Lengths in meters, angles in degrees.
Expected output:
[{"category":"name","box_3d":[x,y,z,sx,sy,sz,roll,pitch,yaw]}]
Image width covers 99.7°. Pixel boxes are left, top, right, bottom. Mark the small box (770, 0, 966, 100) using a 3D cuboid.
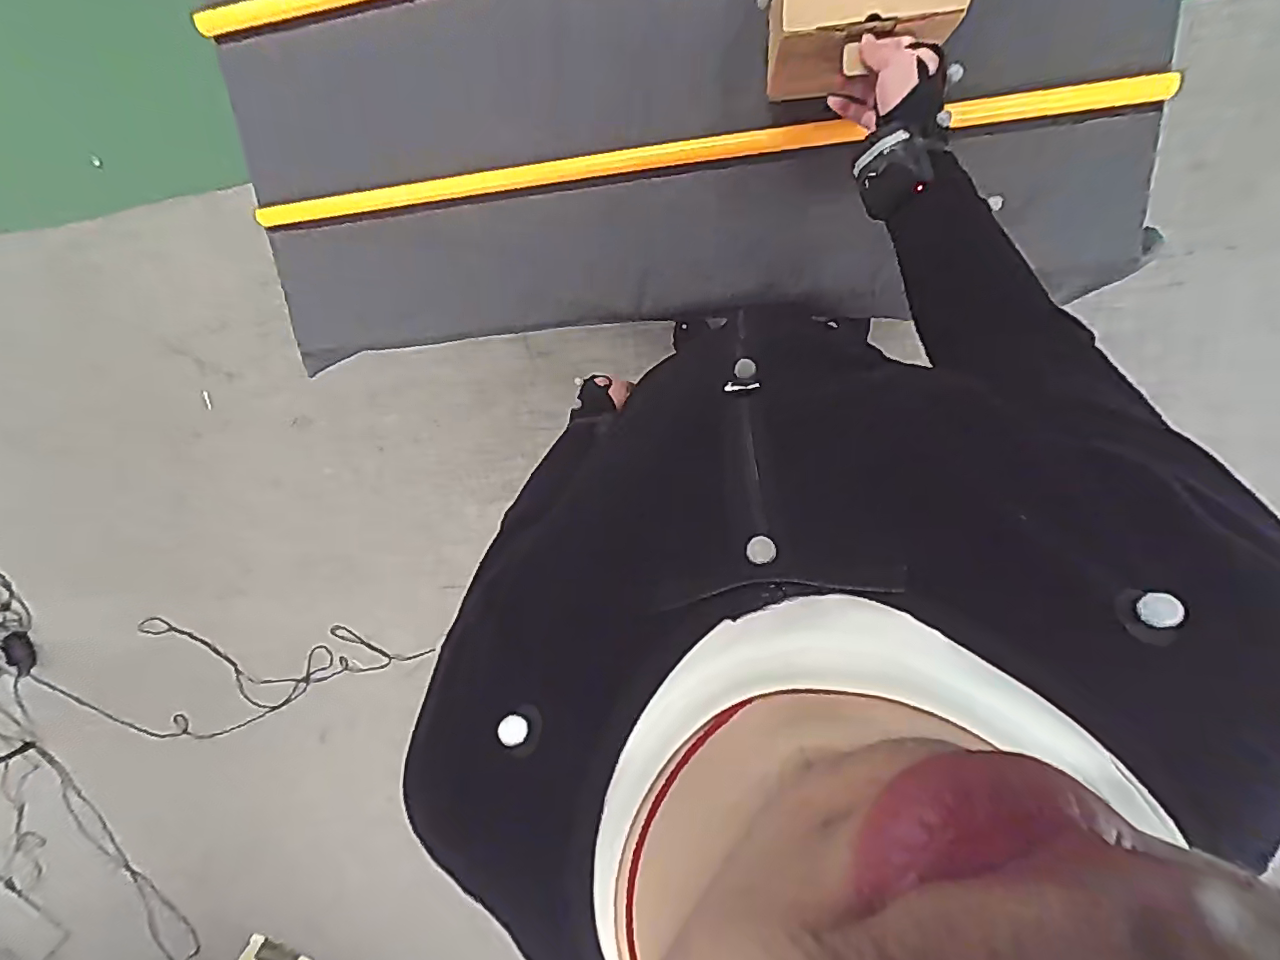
[{"category":"small box","box_3d":[0.225,-0.523,0.559,0.168,0.176,0.179,-2,106,11]}]
